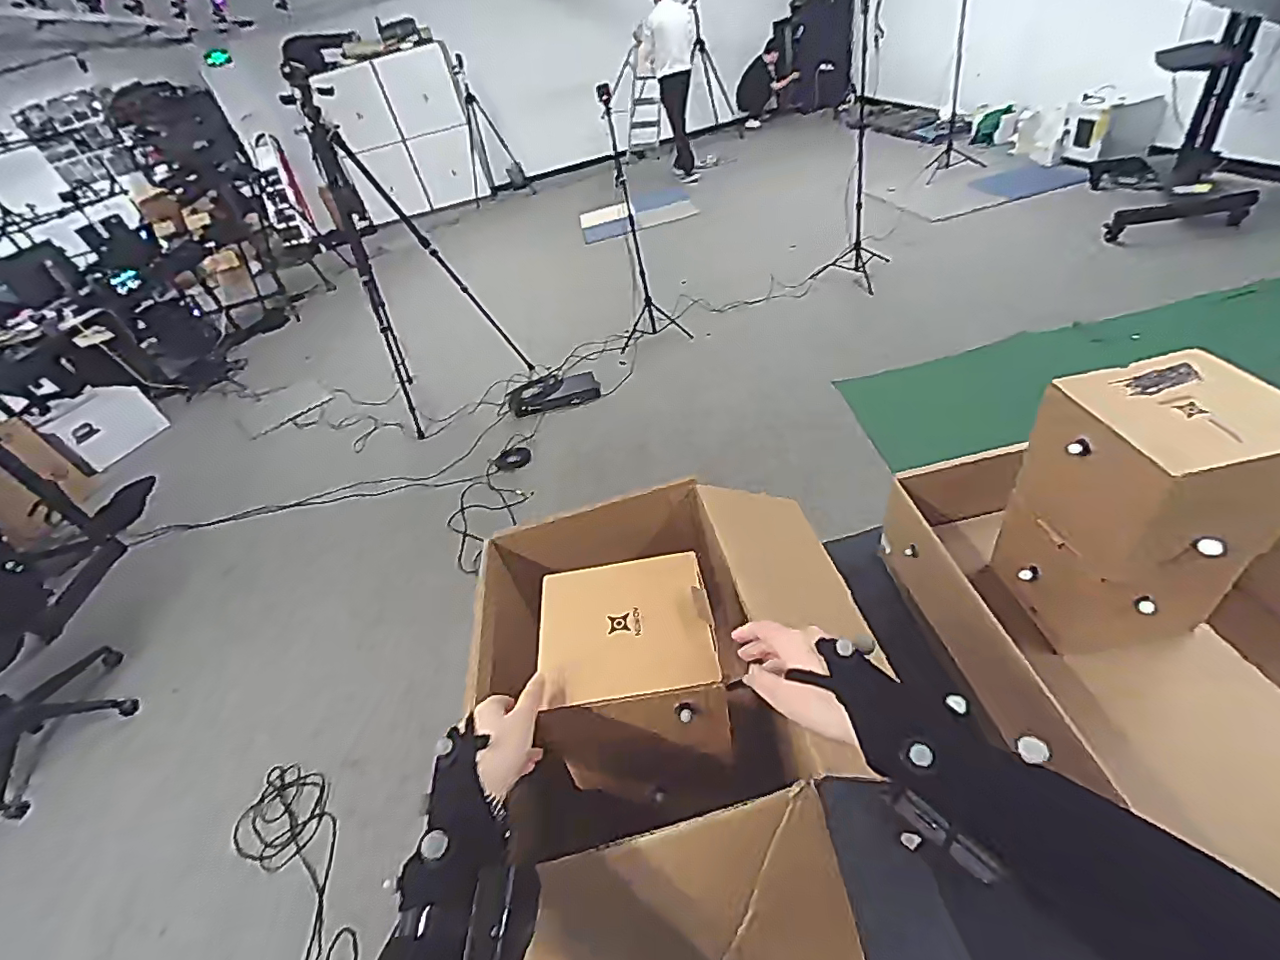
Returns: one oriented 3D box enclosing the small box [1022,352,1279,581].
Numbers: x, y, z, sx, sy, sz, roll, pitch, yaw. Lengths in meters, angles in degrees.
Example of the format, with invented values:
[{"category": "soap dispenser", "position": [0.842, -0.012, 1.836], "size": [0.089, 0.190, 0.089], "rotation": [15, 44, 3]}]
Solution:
[{"category": "small box", "position": [0.577, -0.015, 0.611], "size": [0.168, 0.176, 0.179], "rotation": [-14, 40, 4]}]
